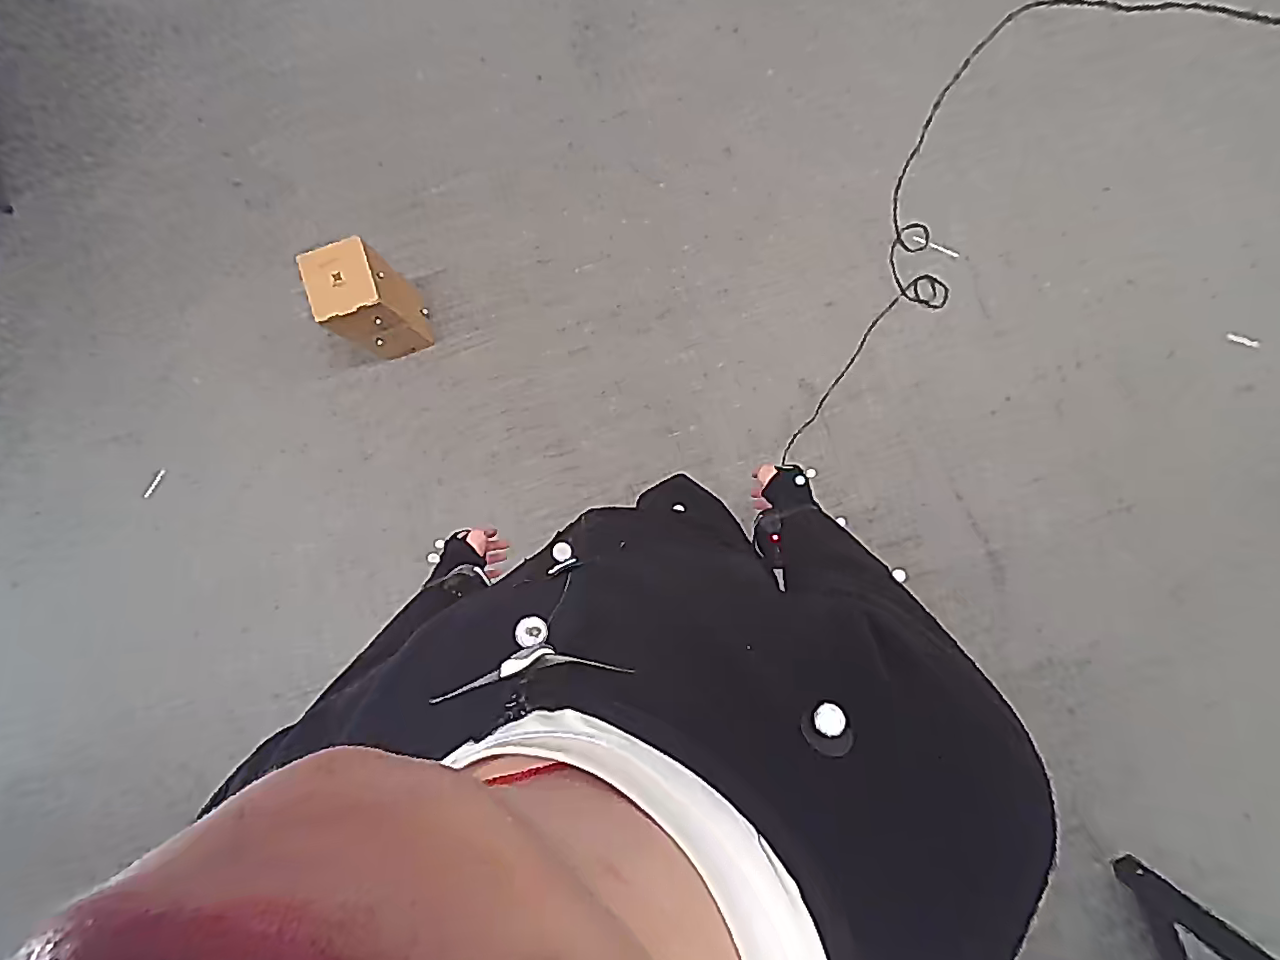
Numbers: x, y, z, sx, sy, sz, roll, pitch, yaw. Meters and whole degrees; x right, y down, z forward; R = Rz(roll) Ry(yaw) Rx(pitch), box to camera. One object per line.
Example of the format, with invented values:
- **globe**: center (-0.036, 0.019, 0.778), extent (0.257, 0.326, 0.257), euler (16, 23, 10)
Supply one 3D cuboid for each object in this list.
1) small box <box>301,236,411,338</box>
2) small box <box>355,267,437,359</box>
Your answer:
- **small box**: center (-0.717, -0.482, 1.385), extent (0.168, 0.176, 0.179), euler (-19, 84, 1)
- **small box**: center (-0.709, -0.471, 1.546), extent (0.168, 0.176, 0.179), euler (-17, 85, 1)
